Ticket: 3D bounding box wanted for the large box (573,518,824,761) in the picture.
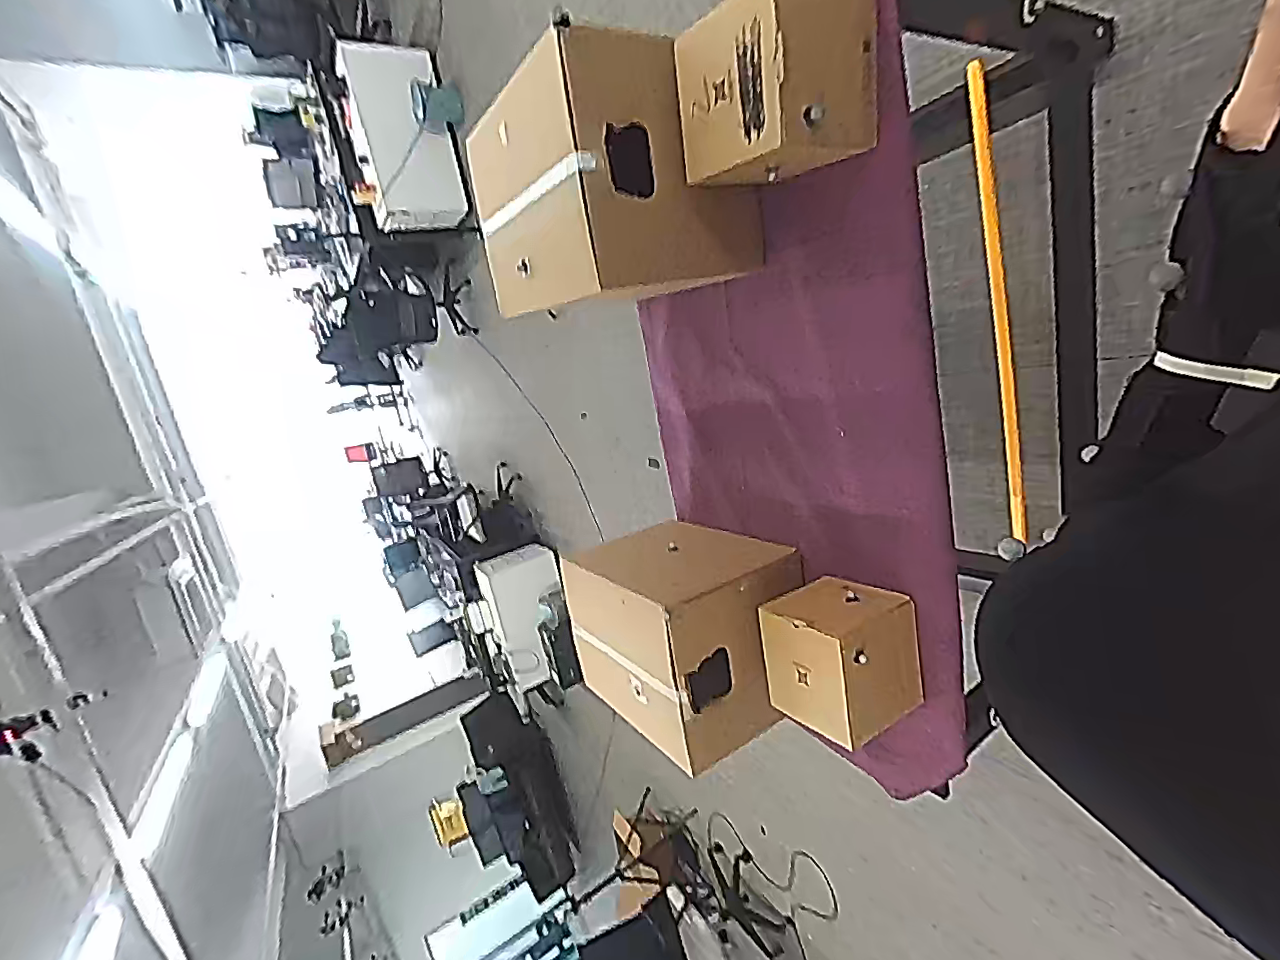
[{"bbox_3d":[0.107,0.280,1.119,0.408,0.320,0.320,6,111,57],"label":"large box"}]
